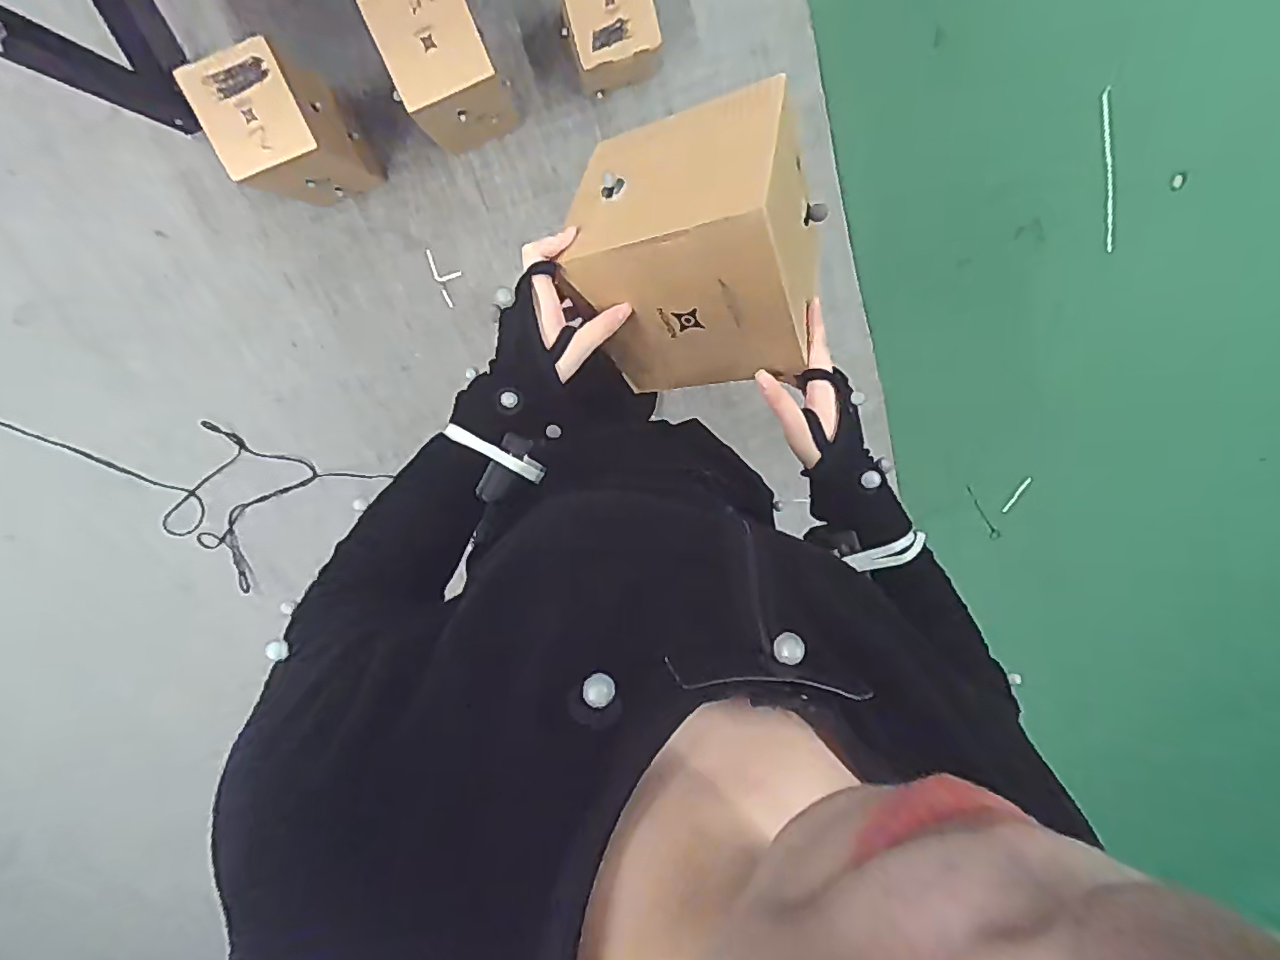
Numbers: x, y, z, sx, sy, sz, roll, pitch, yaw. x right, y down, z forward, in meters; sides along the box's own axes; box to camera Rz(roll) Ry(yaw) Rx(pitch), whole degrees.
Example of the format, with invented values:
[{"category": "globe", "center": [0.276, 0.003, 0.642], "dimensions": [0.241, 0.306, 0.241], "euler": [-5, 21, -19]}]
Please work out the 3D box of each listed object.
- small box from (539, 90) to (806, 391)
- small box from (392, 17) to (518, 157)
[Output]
[{"category": "small box", "center": [0.043, -0.204, 0.492], "dimensions": [0.179, 0.176, 0.168], "euler": [-2, 149, 28]}, {"category": "small box", "center": [-0.378, -0.813, 1.140], "dimensions": [0.179, 0.176, 0.168], "euler": [-20, 108, 3]}]
